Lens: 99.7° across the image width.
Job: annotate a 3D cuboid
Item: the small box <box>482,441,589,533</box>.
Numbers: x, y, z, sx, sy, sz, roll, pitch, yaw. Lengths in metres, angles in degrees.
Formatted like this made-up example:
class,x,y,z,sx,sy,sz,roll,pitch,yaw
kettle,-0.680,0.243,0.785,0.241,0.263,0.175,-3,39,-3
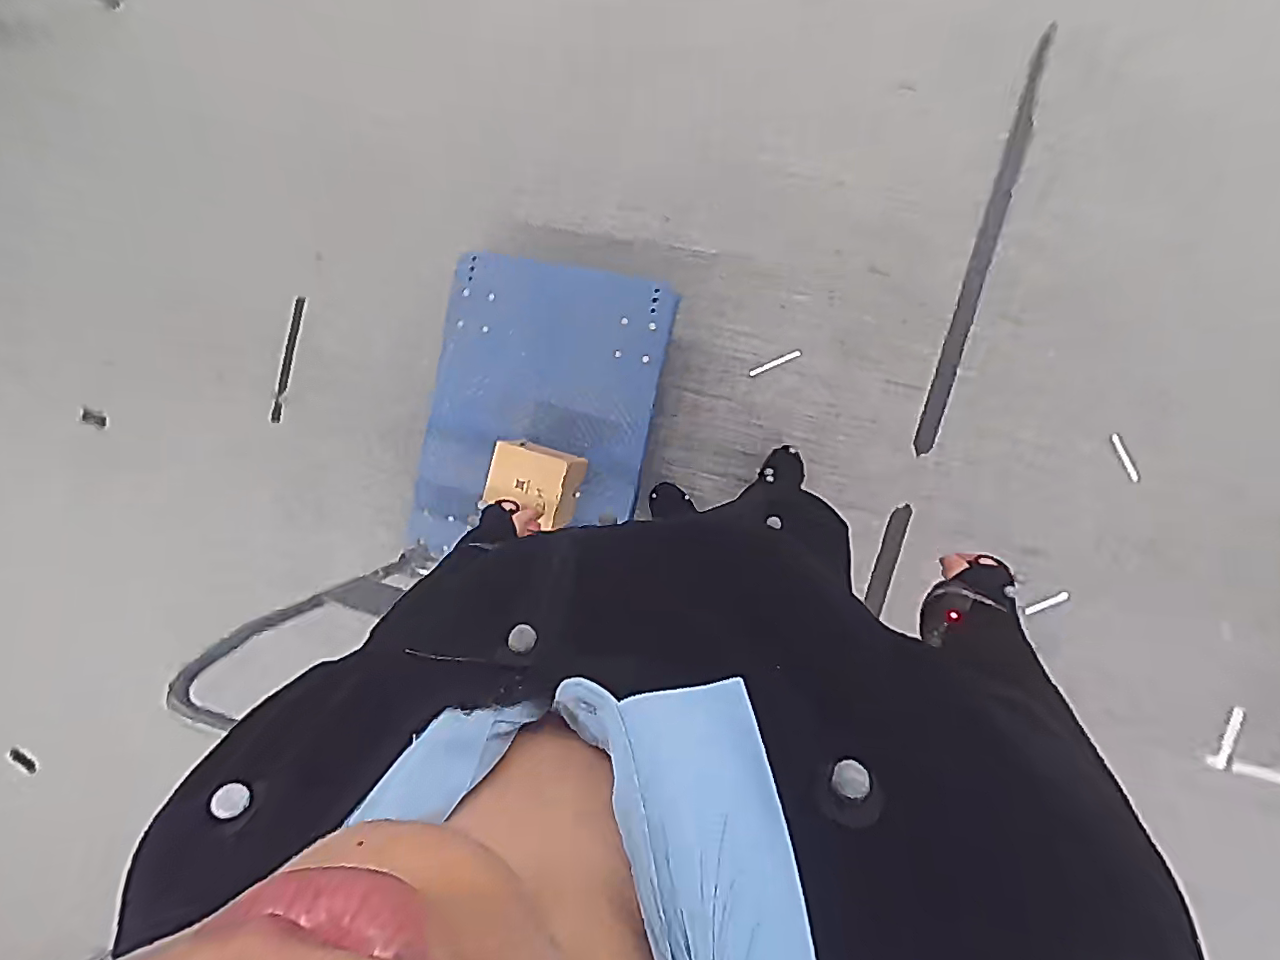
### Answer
class,x,y,z,sx,sy,sz,roll,pitch,yaw
small box,-0.240,0.012,1.273,0.179,0.176,0.168,16,96,8
